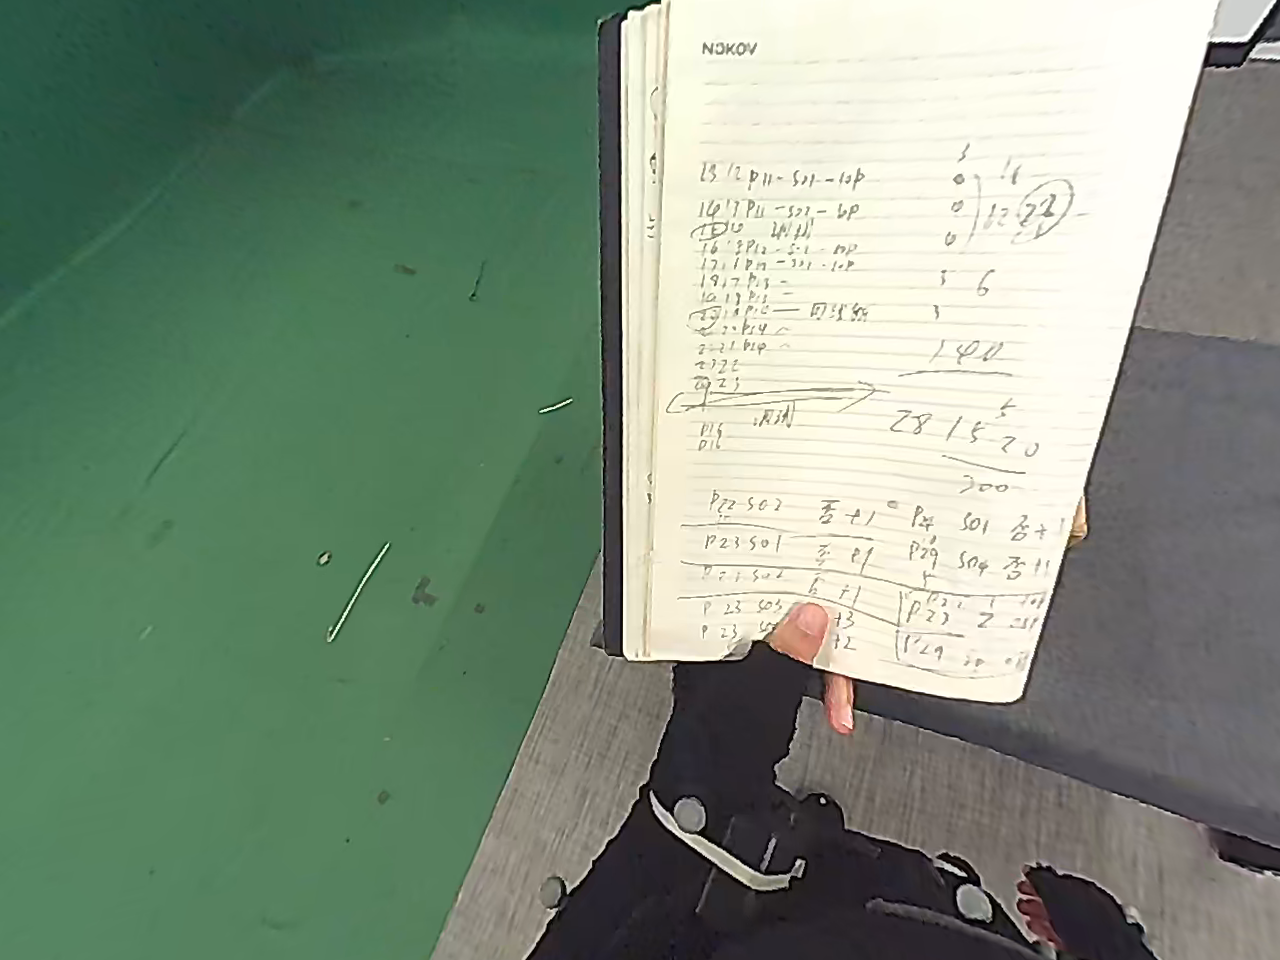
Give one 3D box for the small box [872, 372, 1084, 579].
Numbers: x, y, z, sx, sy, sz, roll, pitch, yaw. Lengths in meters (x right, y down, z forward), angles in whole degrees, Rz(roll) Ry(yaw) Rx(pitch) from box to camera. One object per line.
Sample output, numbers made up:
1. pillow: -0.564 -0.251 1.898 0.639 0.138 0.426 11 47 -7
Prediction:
1. small box: 0.387 -0.001 0.649 0.168 0.176 0.179 10 65 15
